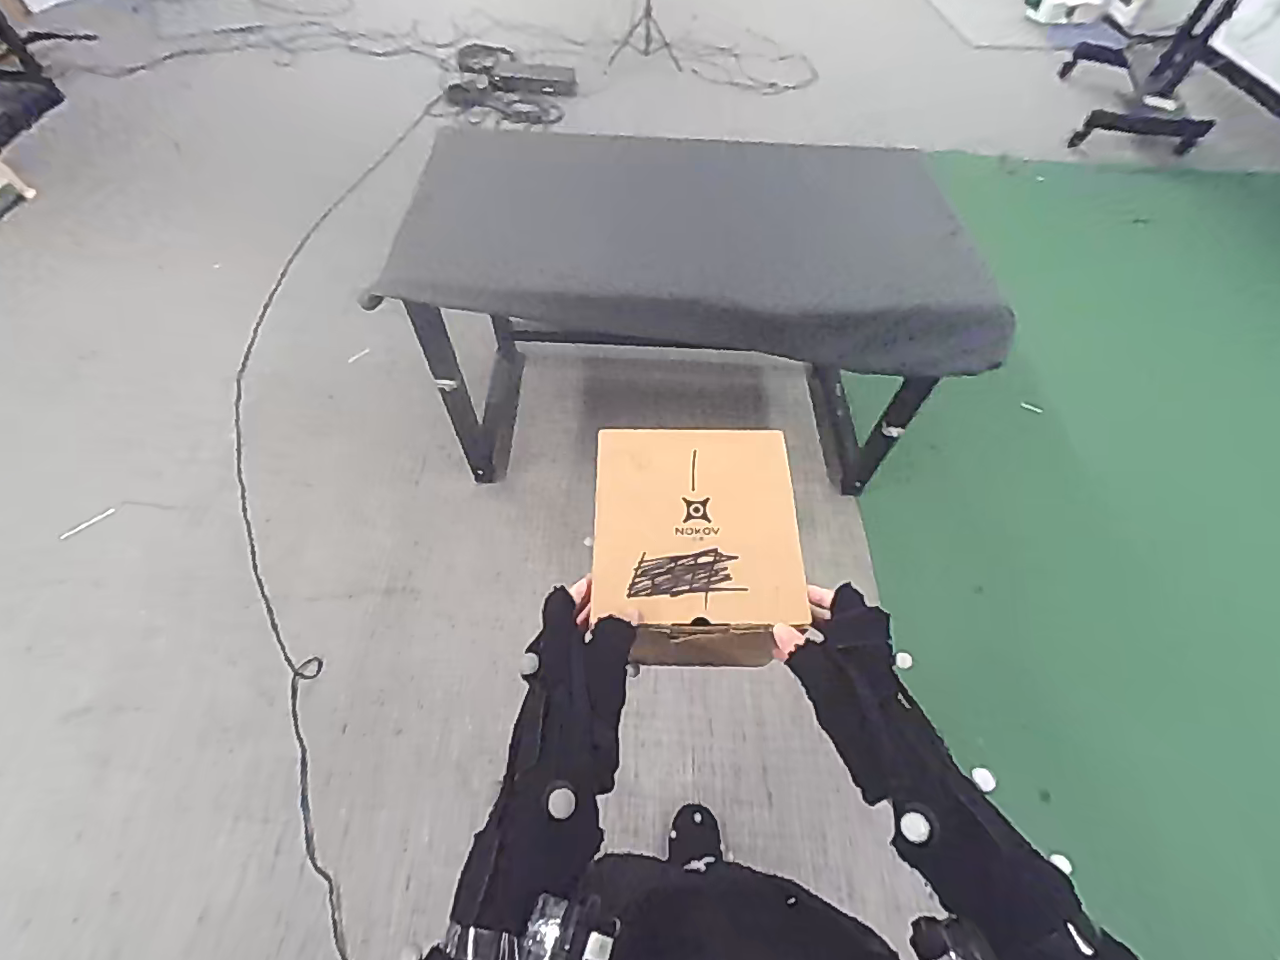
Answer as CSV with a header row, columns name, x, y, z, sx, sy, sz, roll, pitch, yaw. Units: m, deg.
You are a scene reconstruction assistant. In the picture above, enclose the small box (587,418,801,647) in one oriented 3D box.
name,x,y,z,sx,sy,sz,roll,pitch,yaw
small box,0.043,0.058,0.516,0.168,0.176,0.179,0,62,0
